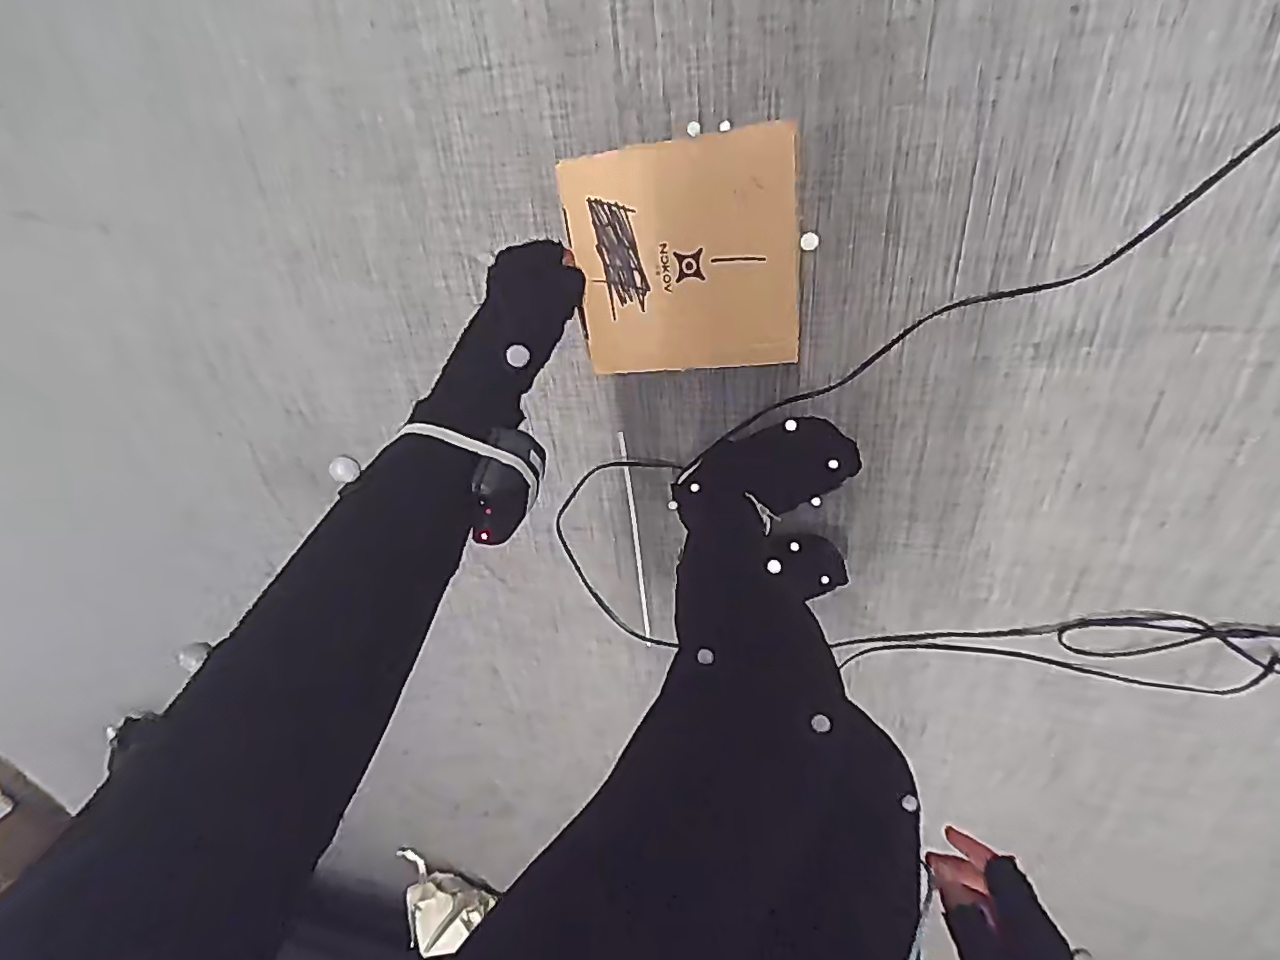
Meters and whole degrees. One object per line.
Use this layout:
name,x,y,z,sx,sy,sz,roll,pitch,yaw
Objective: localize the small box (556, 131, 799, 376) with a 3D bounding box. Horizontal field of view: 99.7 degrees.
small box,0.049,-0.199,0.485,0.179,0.176,0.168,0,119,16
